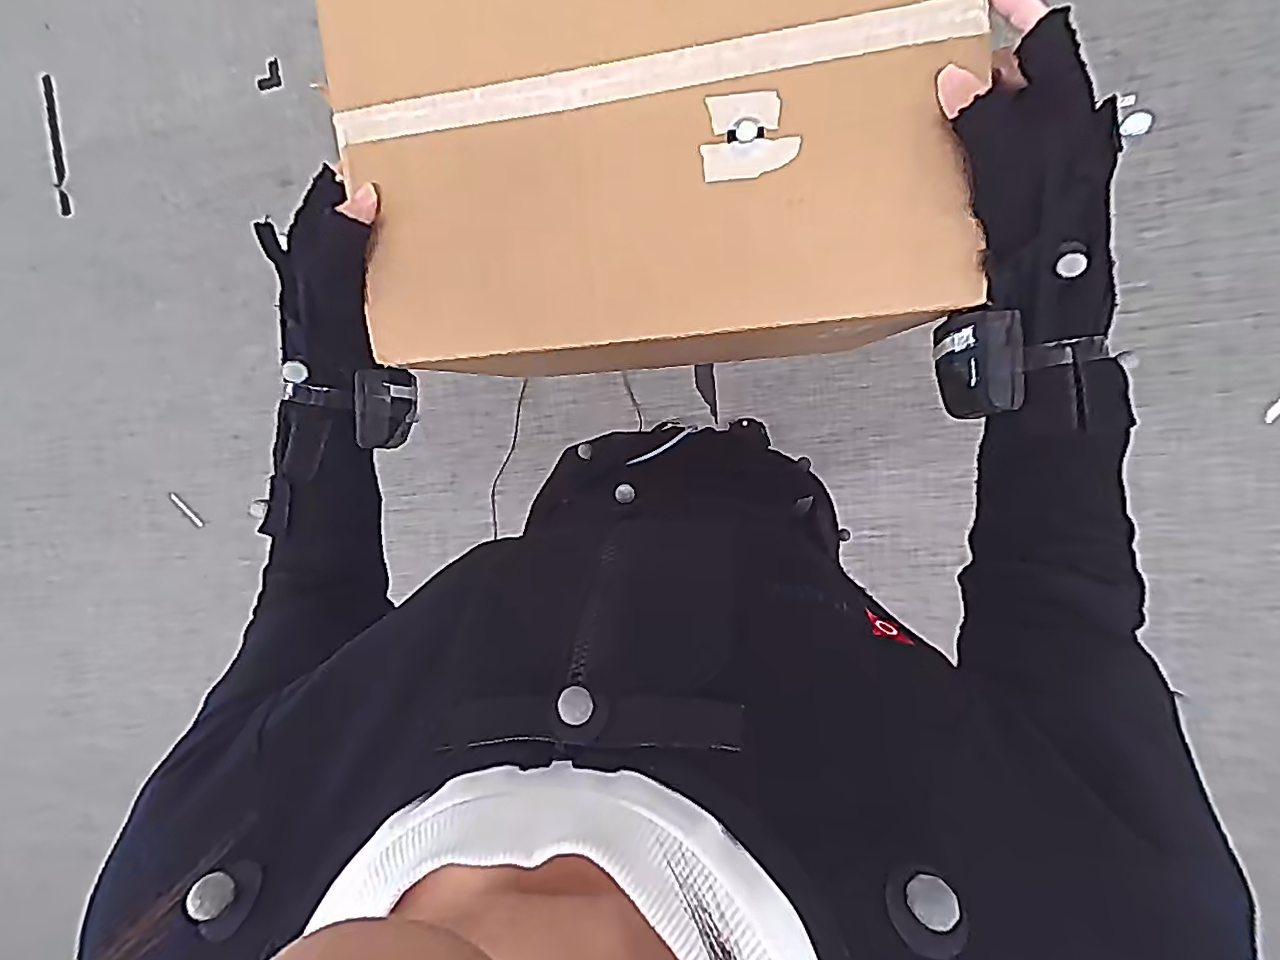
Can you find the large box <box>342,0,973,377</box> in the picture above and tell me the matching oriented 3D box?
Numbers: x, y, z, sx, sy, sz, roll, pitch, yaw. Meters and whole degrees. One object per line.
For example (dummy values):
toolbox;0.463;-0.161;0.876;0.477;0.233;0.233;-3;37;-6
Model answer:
large box;0.018;-0.276;0.496;0.408;0.320;0.320;-4;99;8
